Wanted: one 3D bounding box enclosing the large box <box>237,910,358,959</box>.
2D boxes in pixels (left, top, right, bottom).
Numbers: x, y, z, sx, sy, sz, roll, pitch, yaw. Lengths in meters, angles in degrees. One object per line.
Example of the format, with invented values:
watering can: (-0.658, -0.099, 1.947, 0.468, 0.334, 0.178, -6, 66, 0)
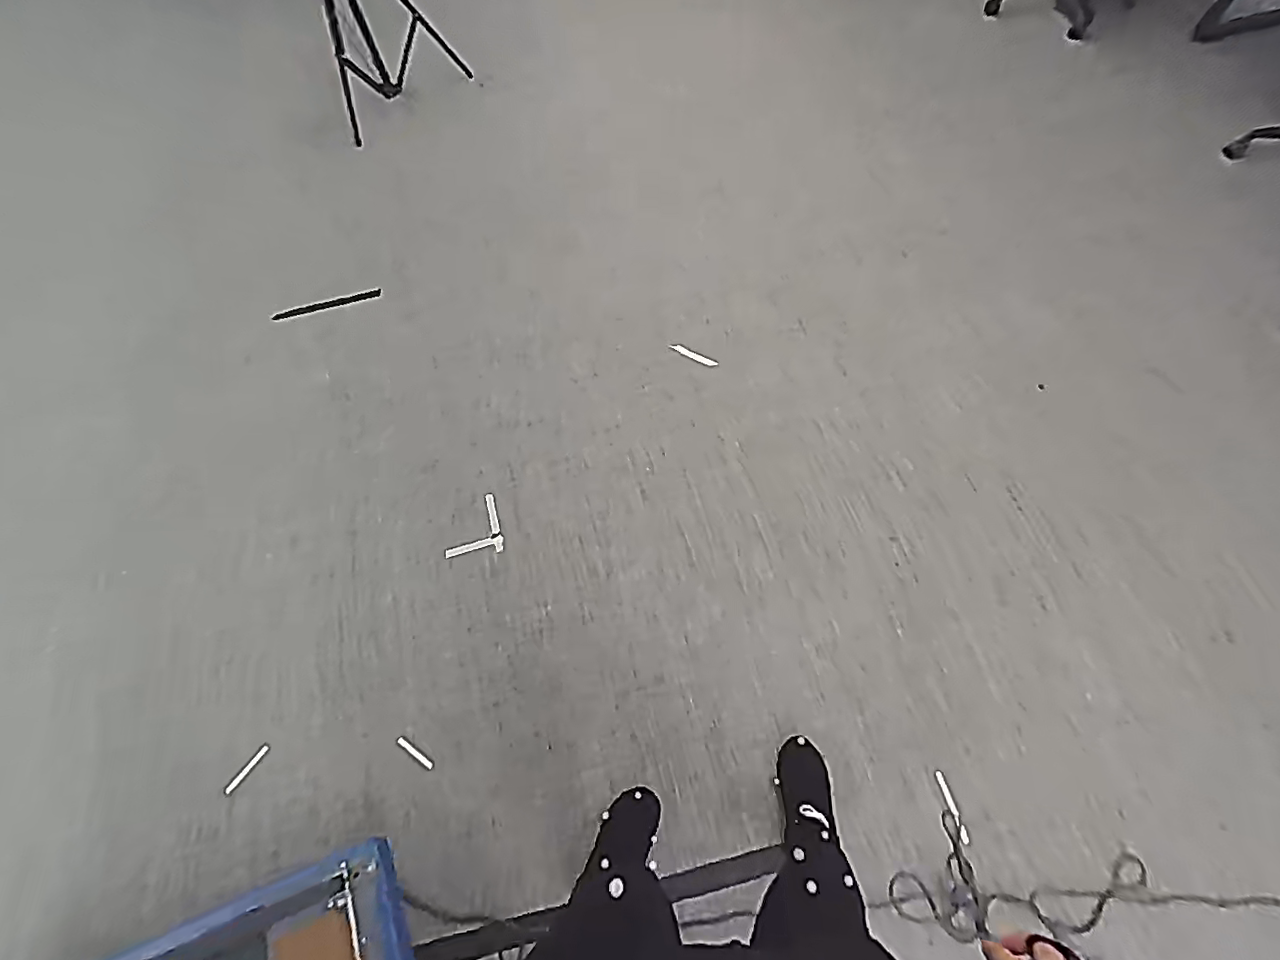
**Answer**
large box: (-0.610, 0.957, 0.783, 0.320, 0.320, 0.408, -21, 65, -9)
